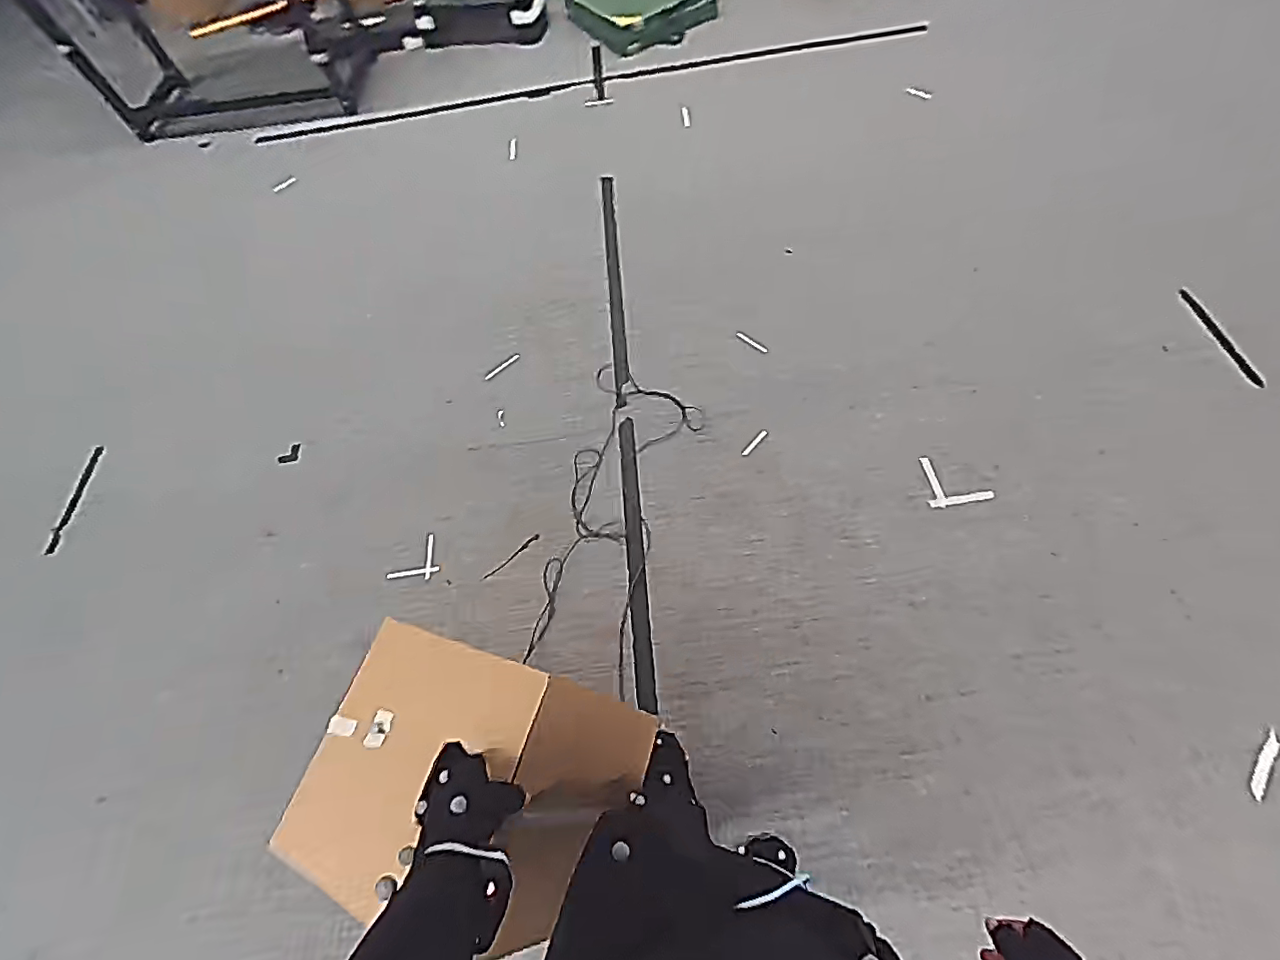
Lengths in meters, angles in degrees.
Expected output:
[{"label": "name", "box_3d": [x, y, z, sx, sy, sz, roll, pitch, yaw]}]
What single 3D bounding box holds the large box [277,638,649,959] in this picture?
[{"label": "large box", "box_3d": [-0.230, 0.469, 0.842, 0.320, 0.408, 0.320, 7, 65, 27]}]
